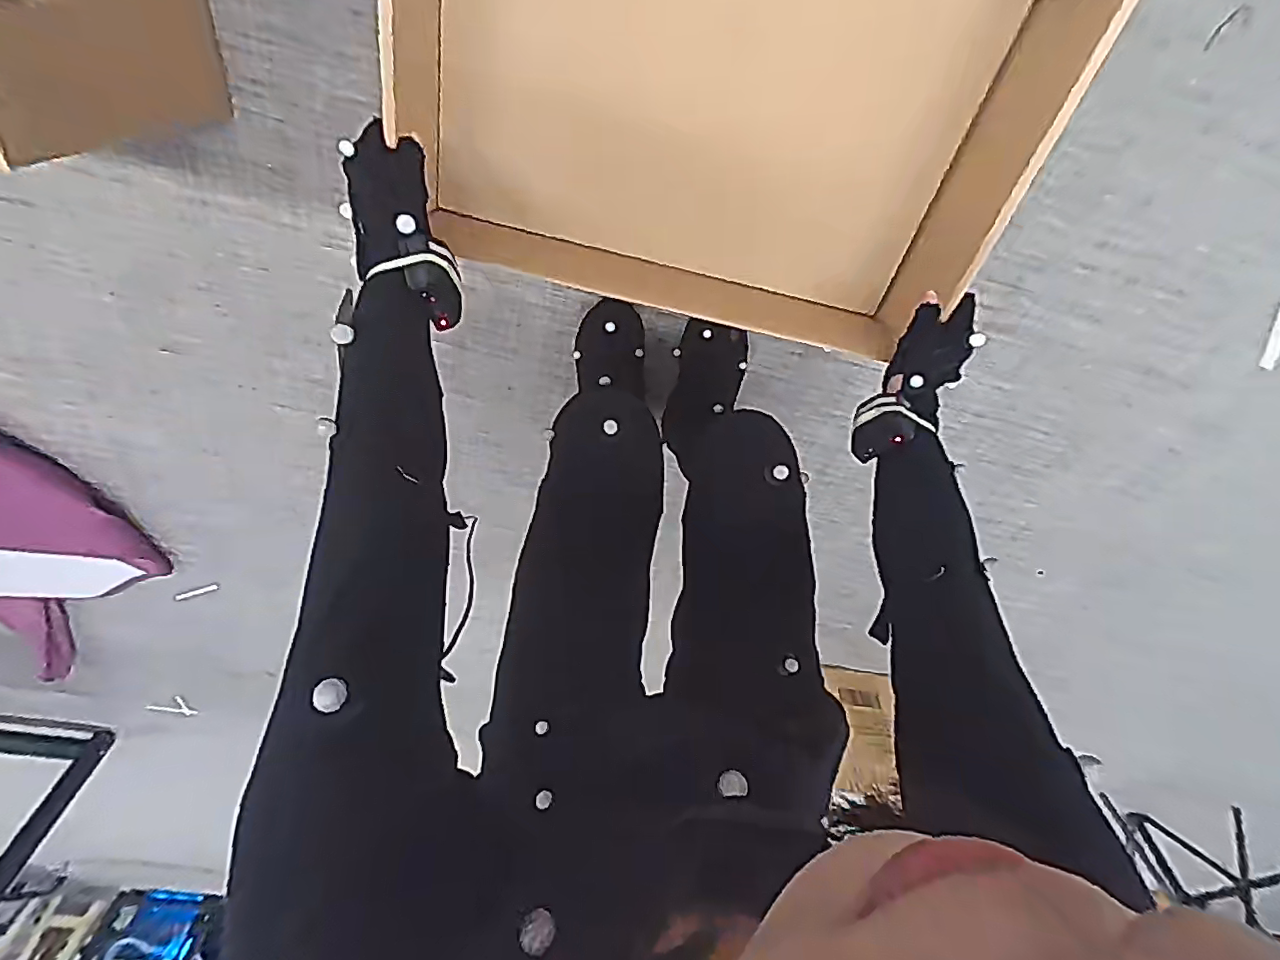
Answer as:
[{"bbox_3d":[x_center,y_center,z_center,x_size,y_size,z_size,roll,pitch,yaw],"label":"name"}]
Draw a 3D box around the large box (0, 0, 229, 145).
[{"bbox_3d":[-0.667,-0.507,0.433,0.408,0.320,0.320,8,131,-7],"label":"large box"}]
